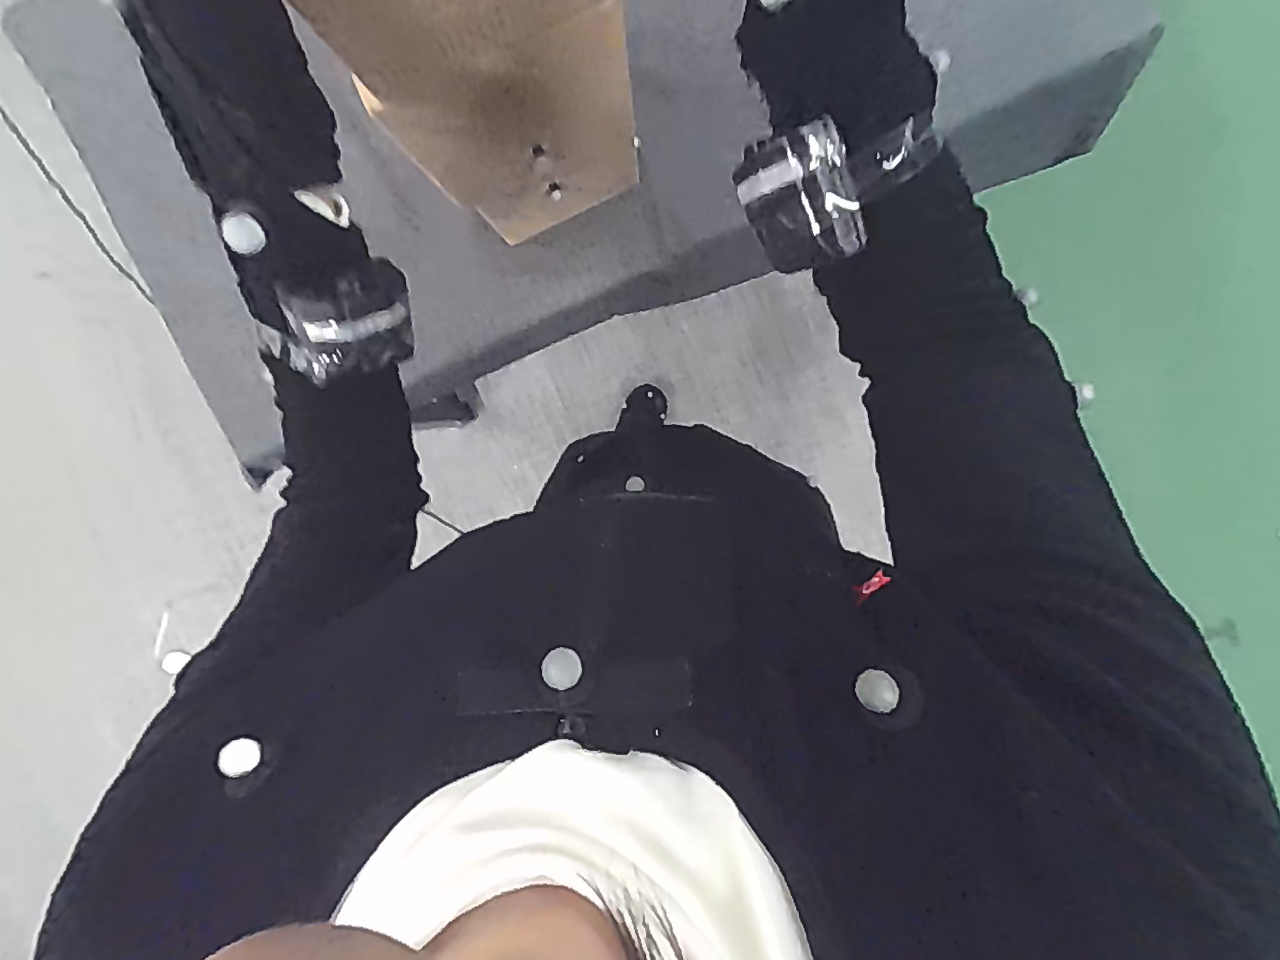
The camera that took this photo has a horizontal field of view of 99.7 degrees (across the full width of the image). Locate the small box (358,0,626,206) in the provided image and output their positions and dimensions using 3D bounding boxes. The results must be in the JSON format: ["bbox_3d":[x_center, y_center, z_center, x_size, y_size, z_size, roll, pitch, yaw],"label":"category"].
[{"bbox_3d":[-0.119,-0.348,0.415,0.179,0.176,0.168,-24,97,6],"label":"small box"}]

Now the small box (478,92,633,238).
[{"bbox_3d":[-0.114,-0.389,0.571,0.179,0.176,0.168,-23,95,7],"label":"small box"}]
